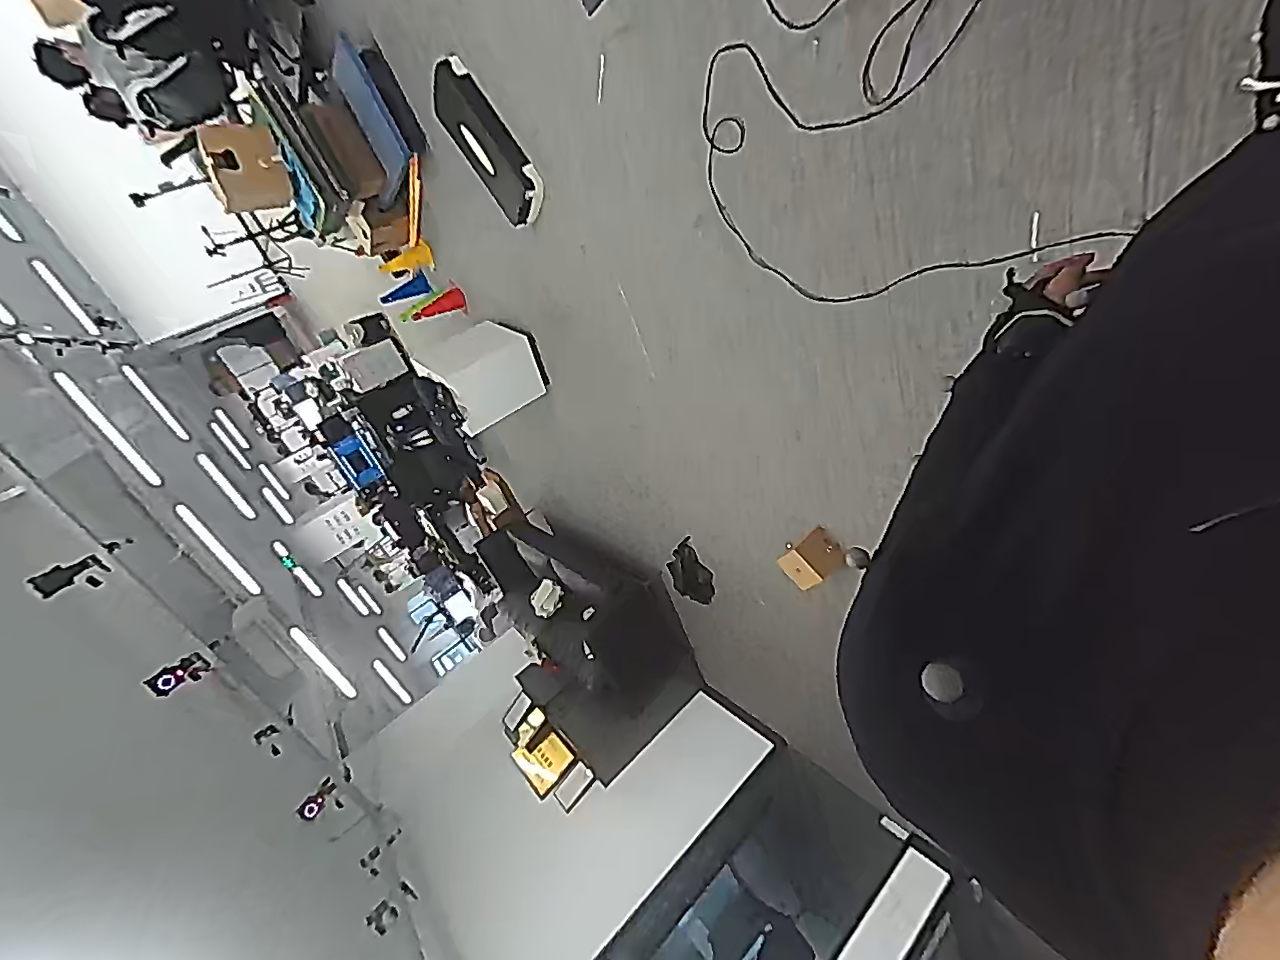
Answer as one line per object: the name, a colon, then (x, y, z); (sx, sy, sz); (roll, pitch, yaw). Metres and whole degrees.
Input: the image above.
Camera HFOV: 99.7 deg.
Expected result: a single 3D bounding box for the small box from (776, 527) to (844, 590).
small box: (0.698, 0.322, 2.217); (0.168, 0.176, 0.179); (47, 154, 11)
